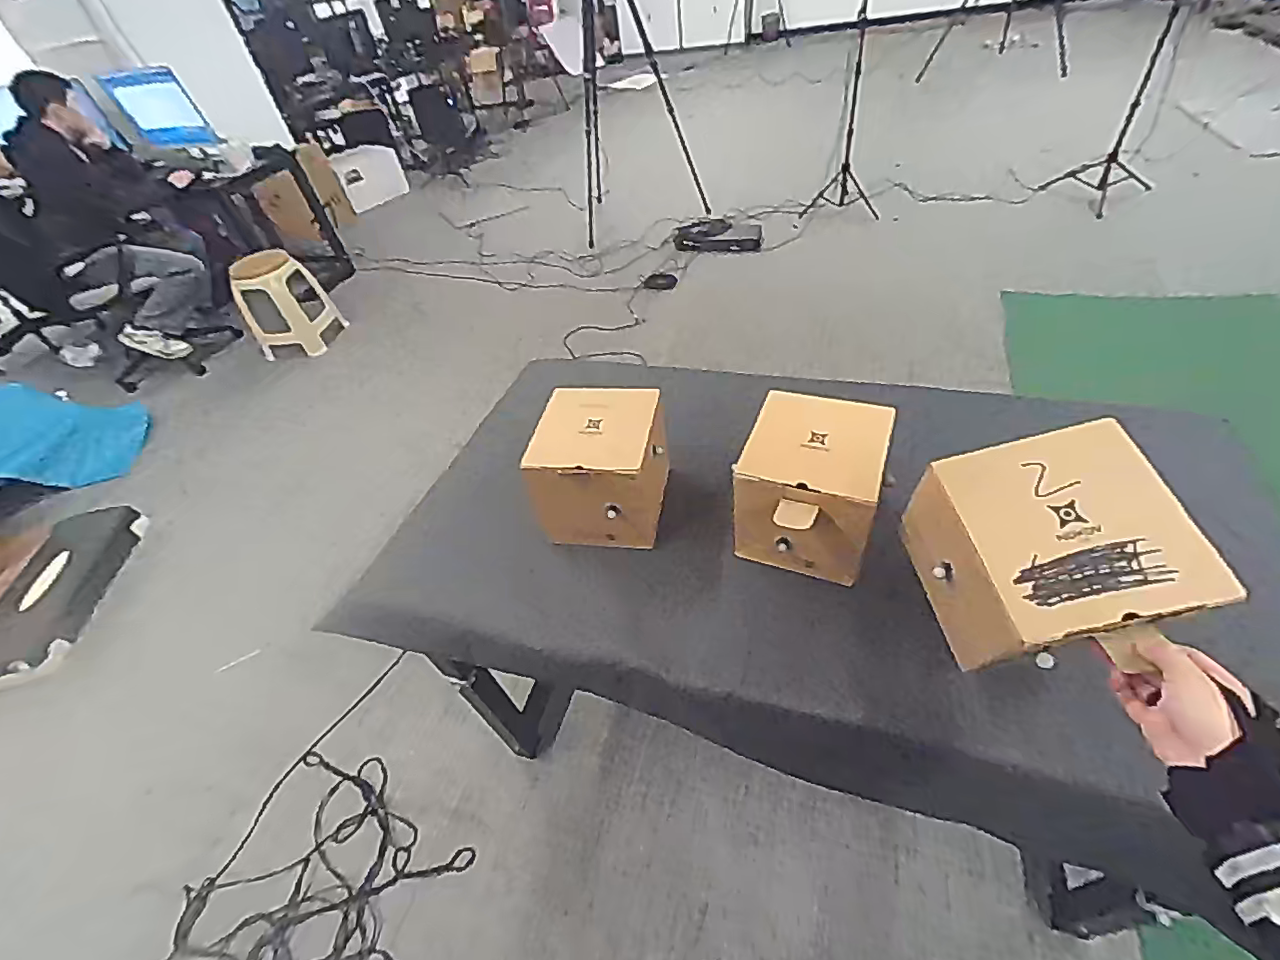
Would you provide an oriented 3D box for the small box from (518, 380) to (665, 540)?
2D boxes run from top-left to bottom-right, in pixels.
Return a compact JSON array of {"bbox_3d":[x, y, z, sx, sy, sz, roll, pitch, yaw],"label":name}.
[{"bbox_3d":[-0.057,-0.029,0.802,0.168,0.176,0.179,3,45,11],"label":"small box"}]

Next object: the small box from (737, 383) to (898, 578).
[{"bbox_3d":[0.230,-0.002,0.724,0.168,0.176,0.179,14,50,21],"label":"small box"}]
